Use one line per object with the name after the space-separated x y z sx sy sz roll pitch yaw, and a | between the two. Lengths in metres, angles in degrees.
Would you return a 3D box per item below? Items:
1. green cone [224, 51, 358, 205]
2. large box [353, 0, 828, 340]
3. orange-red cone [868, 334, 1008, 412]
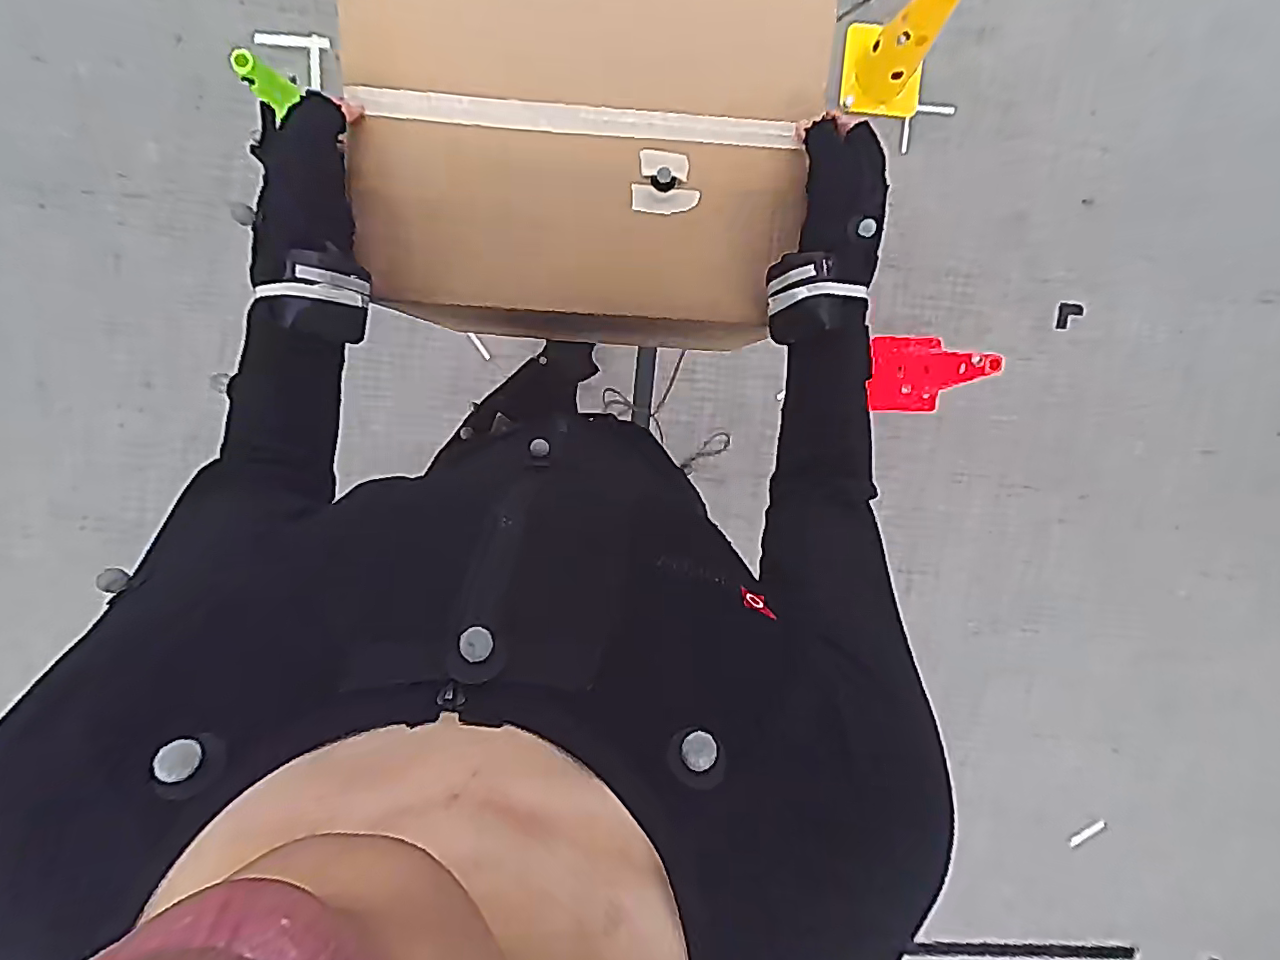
-0.724 -0.778 1.141 0.202 0.368 0.200 -33 97 4 | green cone
-0.051 -0.339 0.611 0.408 0.320 0.320 3 100 -4 | large box
0.720 -0.267 1.274 0.198 0.360 0.199 2 96 -4 | orange-red cone
